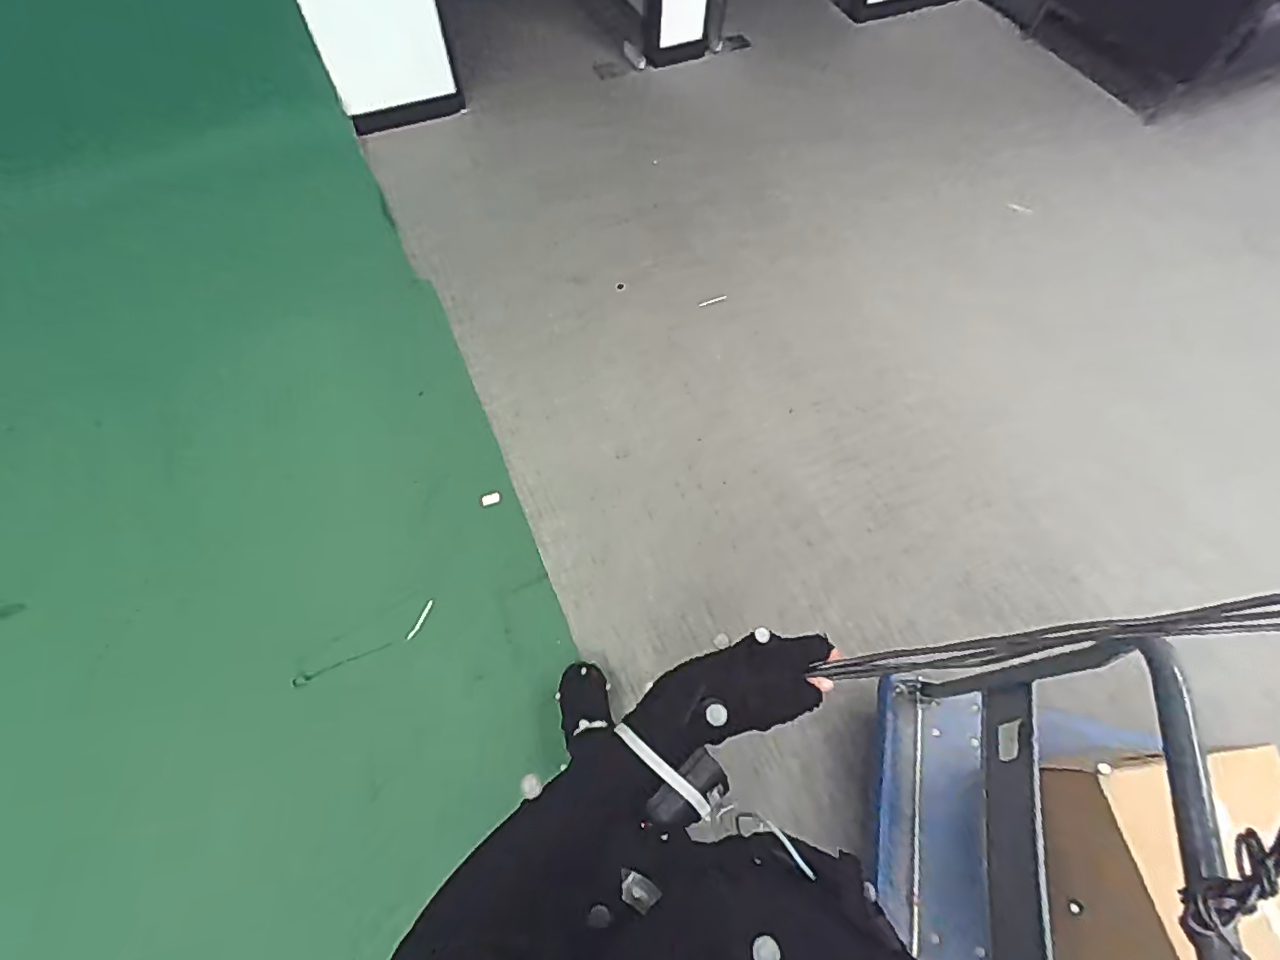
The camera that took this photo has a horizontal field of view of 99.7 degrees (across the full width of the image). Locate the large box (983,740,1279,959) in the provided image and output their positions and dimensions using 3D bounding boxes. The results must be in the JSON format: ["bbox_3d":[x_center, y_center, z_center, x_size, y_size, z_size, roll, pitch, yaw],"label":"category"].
[{"bbox_3d":[0.884,0.687,0.914,0.320,0.320,0.408,-6,62,-5],"label":"large box"}]
